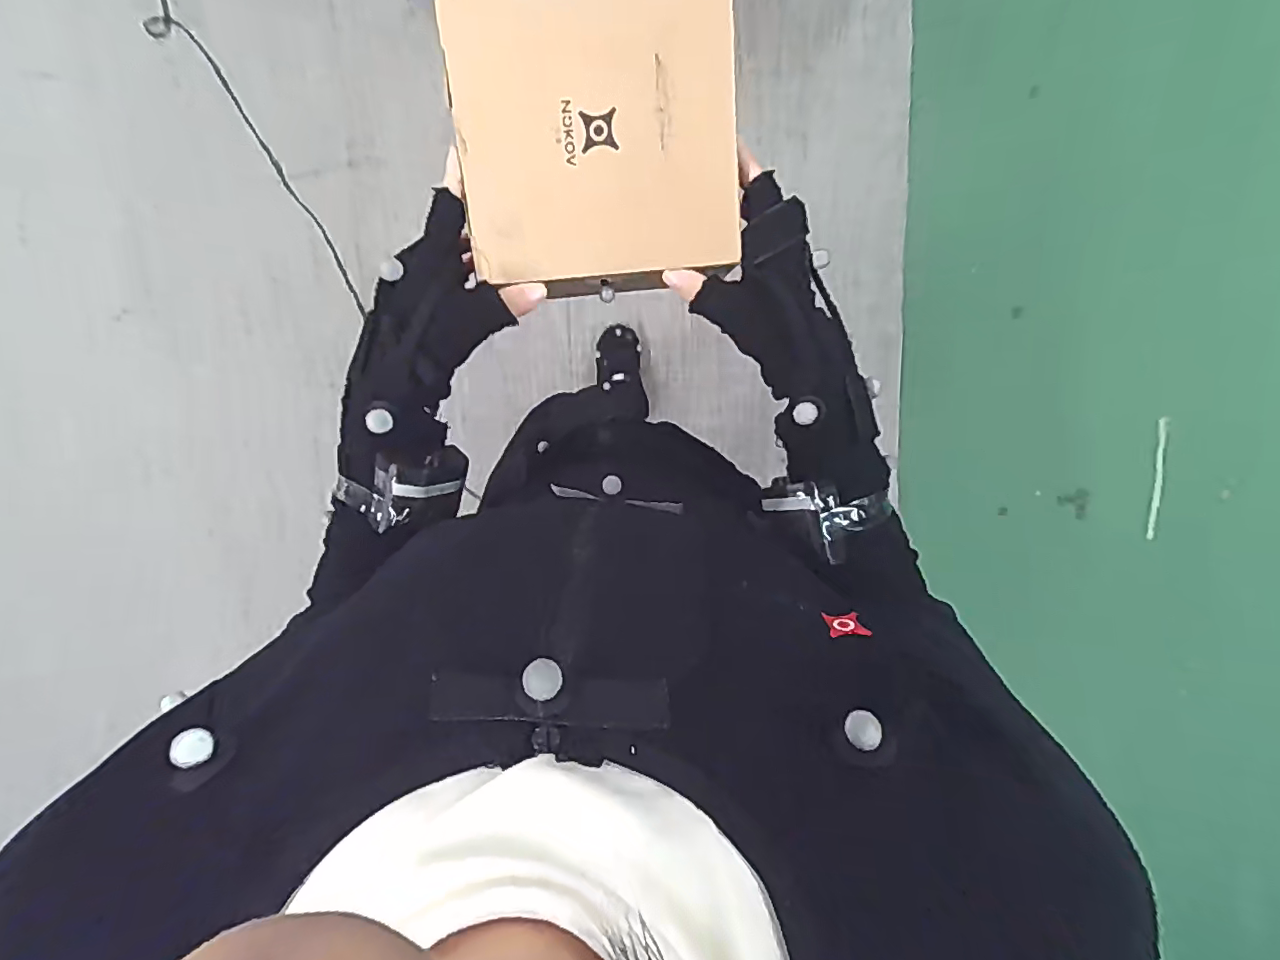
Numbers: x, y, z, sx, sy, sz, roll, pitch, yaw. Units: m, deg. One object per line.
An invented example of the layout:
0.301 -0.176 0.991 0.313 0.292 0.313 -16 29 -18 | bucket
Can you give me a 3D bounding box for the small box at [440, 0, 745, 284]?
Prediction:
-0.021 -0.245 0.407 0.179 0.176 0.168 -5 107 4 | small box
